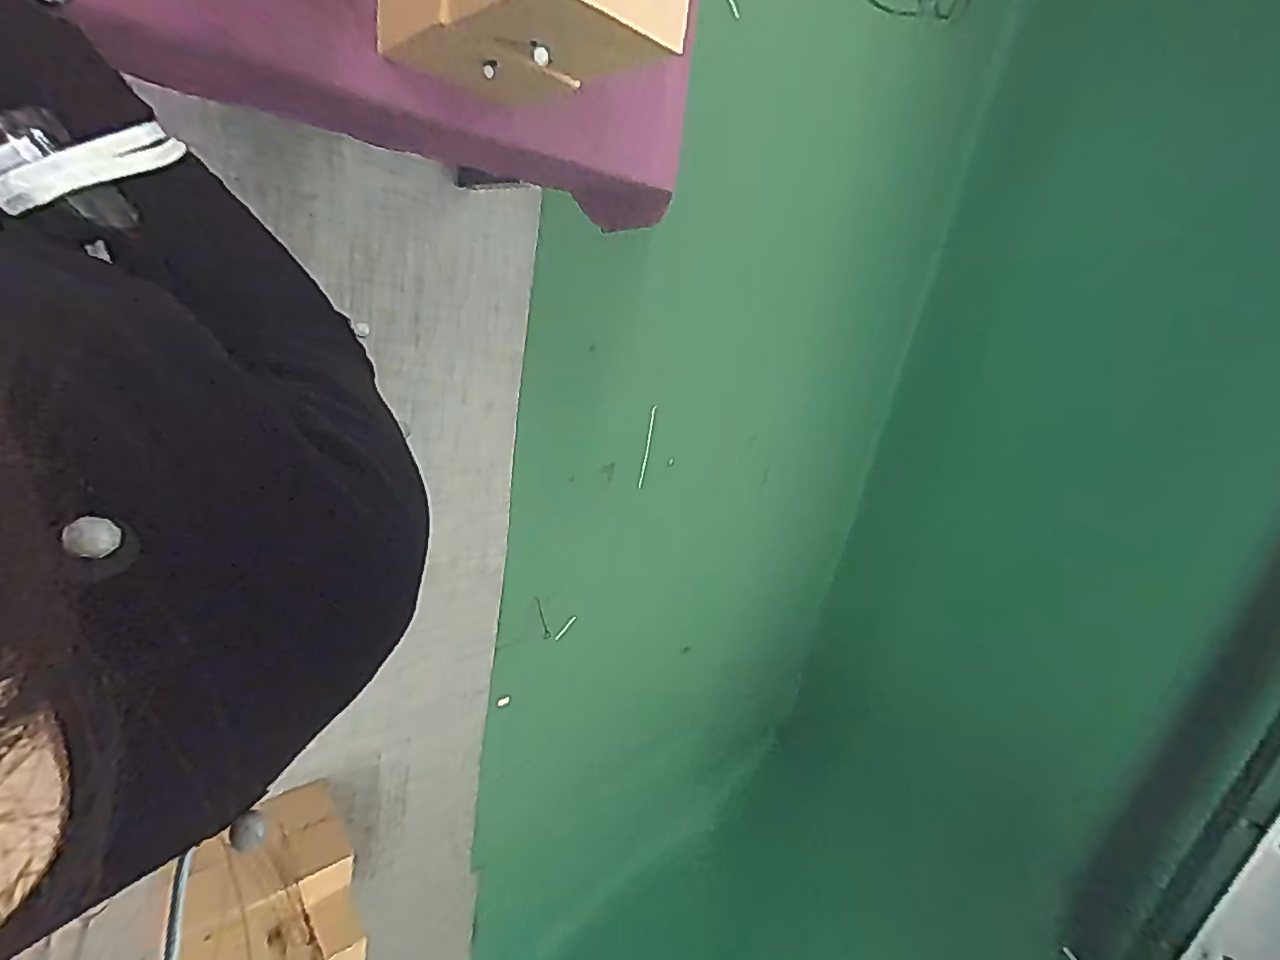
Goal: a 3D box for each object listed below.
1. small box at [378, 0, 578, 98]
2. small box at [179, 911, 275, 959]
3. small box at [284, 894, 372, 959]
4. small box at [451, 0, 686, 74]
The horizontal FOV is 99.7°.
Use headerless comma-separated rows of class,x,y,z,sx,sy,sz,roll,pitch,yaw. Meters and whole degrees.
small box,-0.180,-0.559,0.608,0.179,0.176,0.168,-10,116,-44
small box,-0.977,1.189,1.279,0.168,0.176,0.179,-1,111,-46
small box,-0.850,1.280,1.468,0.168,0.176,0.179,-4,114,-46
small box,-0.066,-0.514,0.498,0.168,0.176,0.179,-12,118,-42
